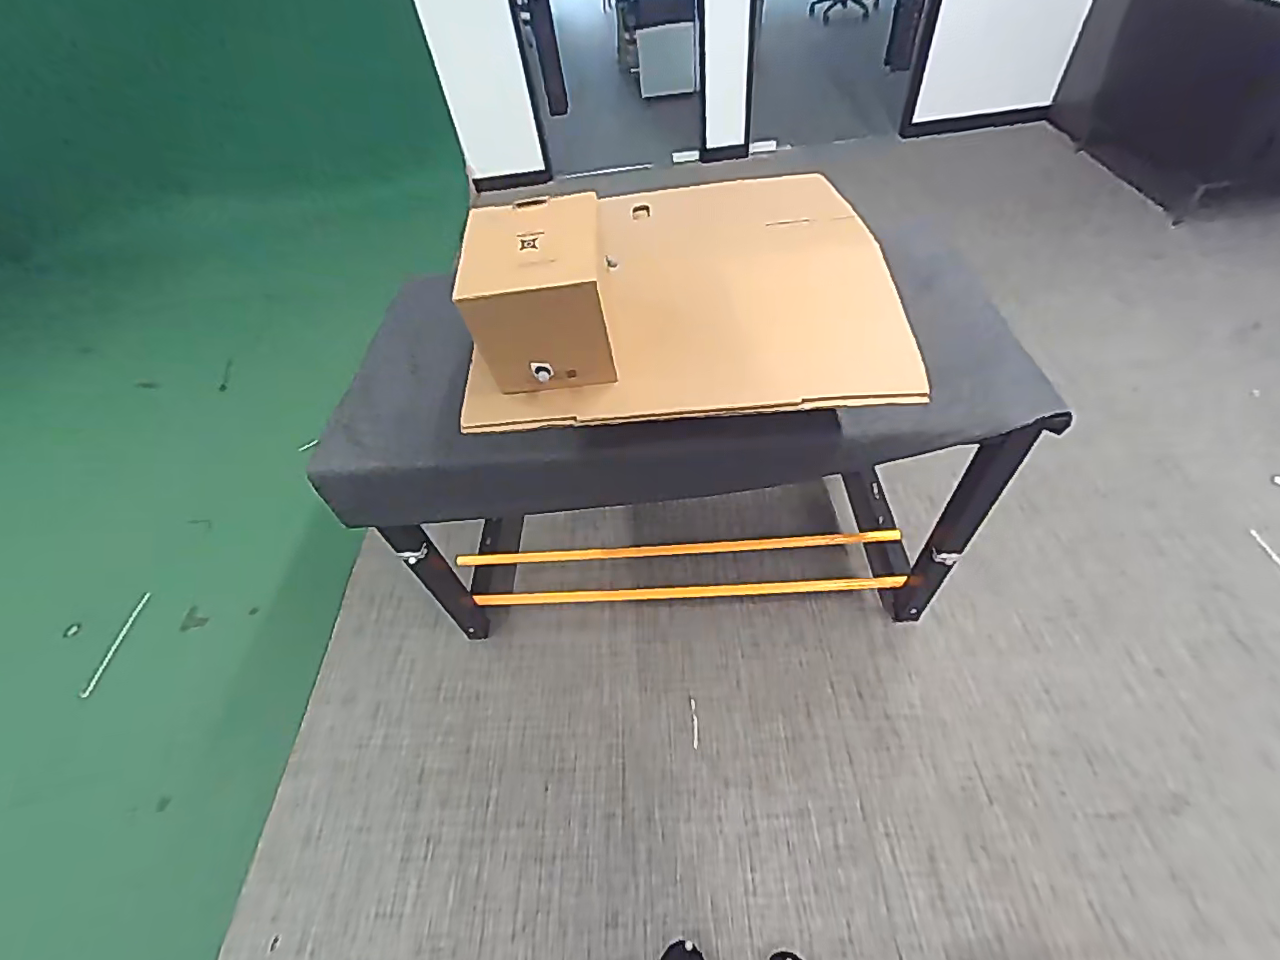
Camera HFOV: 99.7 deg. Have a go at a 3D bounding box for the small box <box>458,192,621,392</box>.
[{"bbox_3d":[-0.120,-0.241,0.712,0.168,0.176,0.179,-7,59,4],"label":"small box"}]
